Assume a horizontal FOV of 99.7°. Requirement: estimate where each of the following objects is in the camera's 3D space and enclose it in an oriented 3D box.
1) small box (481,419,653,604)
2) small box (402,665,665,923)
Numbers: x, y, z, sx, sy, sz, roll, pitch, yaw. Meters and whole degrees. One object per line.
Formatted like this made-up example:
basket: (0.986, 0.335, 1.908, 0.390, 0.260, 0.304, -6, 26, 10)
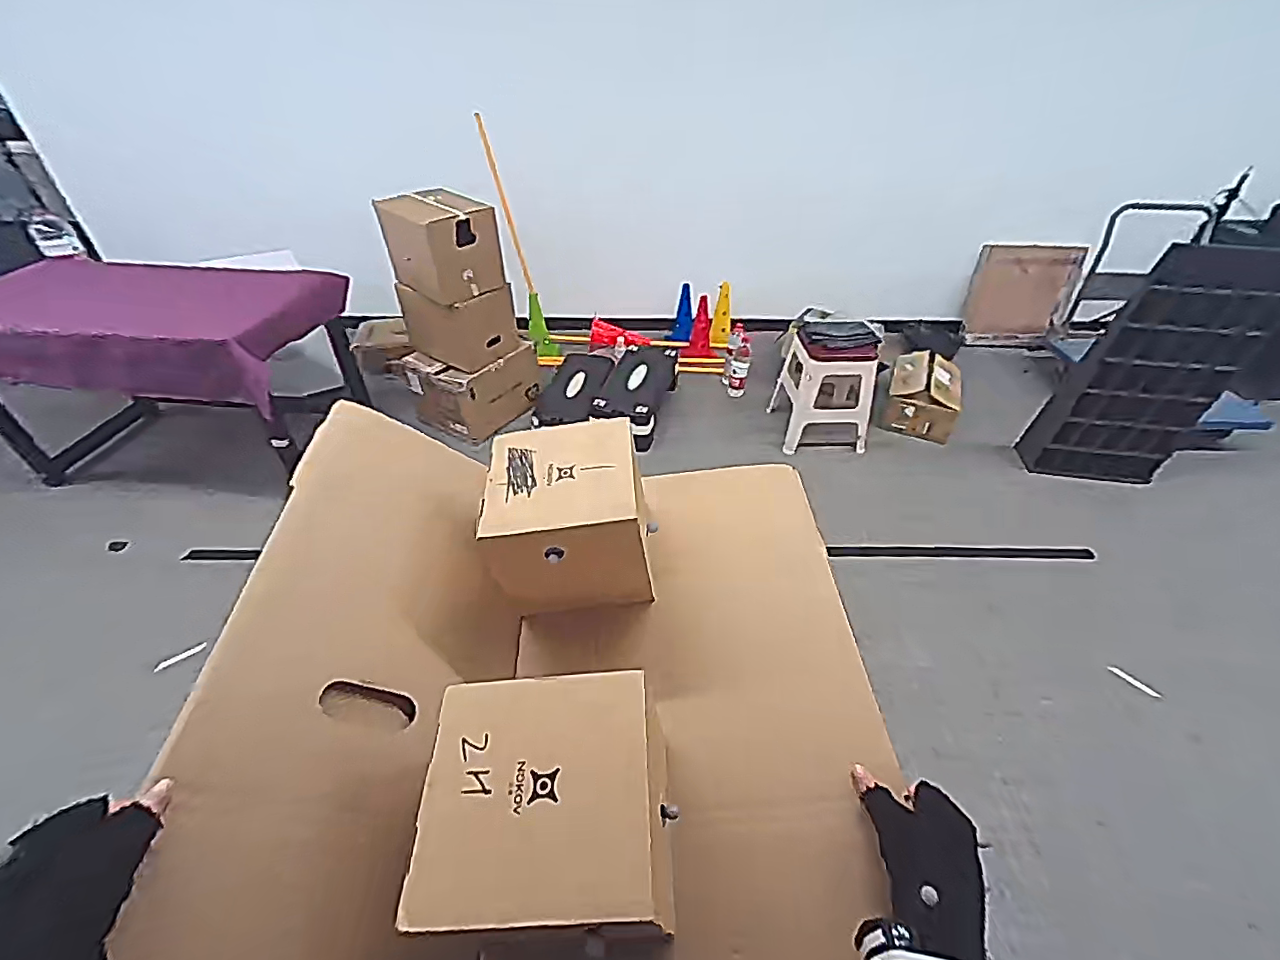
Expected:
small box: (-0.082, 0.046, 0.697, 0.179, 0.176, 0.168, -7, 47, 3)
small box: (-0.070, 0.280, 0.480, 0.179, 0.176, 0.168, -6, 47, 6)
